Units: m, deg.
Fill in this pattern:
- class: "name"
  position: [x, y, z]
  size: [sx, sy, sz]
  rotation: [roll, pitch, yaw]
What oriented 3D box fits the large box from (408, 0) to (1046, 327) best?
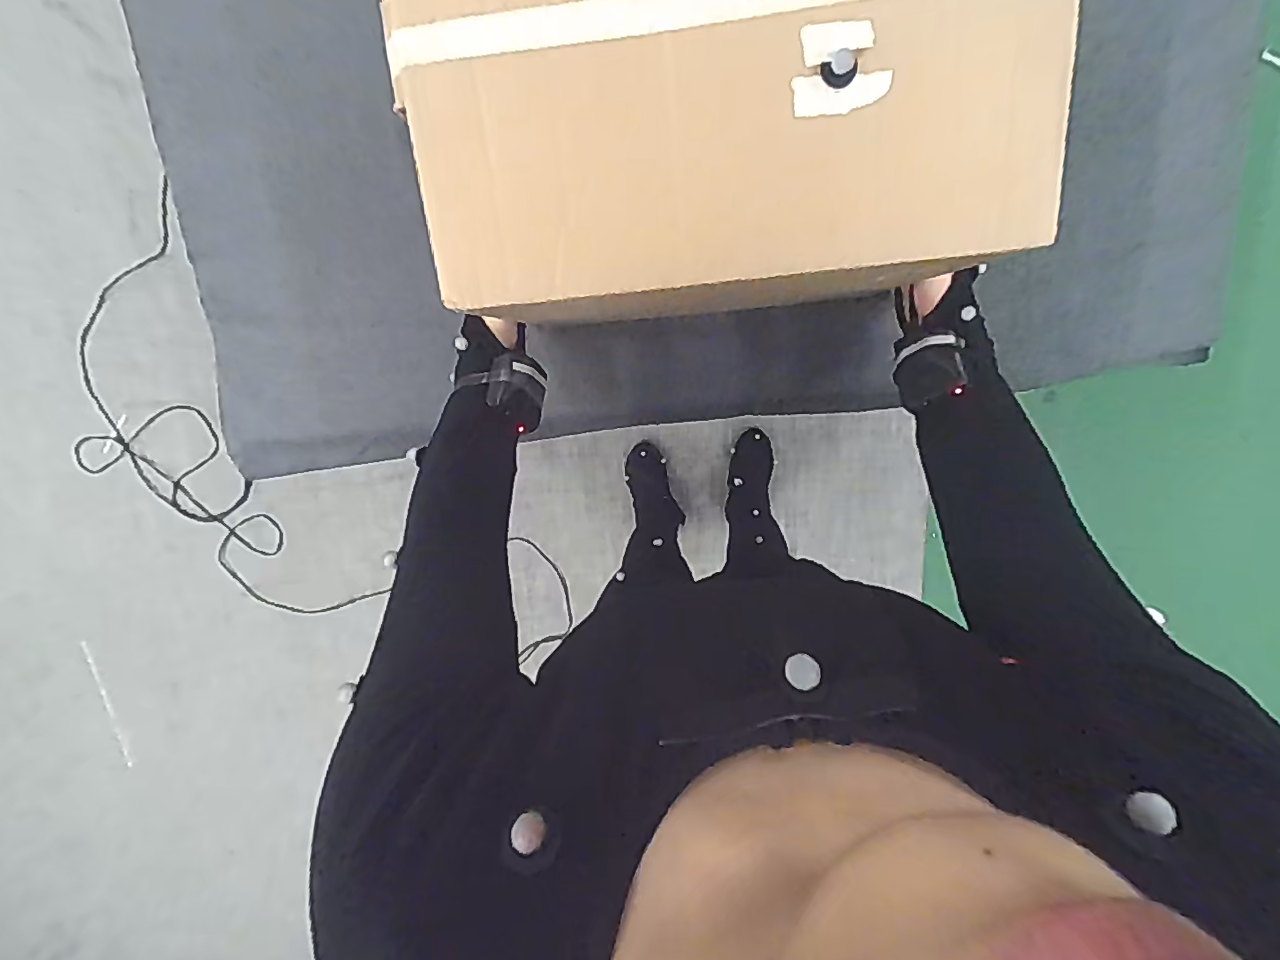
- class: "large box"
  position: [0.056, -0.326, 0.487]
  size: [0.408, 0.320, 0.320]
  rotation: [-5, 104, 4]
